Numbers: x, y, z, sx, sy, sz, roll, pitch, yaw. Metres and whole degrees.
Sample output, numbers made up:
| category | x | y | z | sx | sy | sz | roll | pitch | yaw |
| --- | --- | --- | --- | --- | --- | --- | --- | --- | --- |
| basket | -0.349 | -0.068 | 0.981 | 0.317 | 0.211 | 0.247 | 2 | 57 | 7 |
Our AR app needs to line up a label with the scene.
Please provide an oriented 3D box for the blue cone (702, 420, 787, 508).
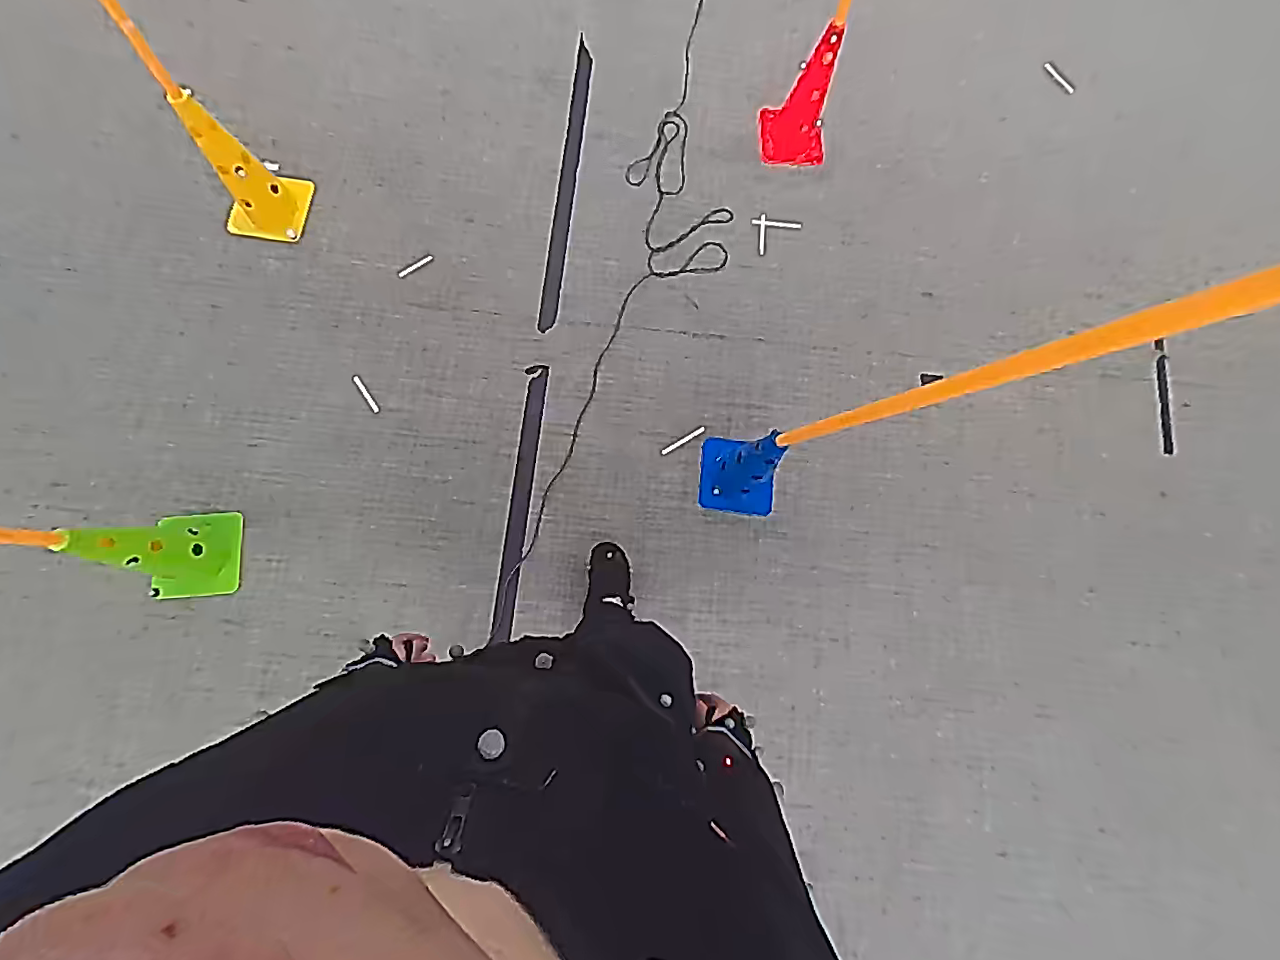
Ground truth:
| category | x | y | z | sx | sy | sz | roll | pitch | yaw |
| --- | --- | --- | --- | --- | --- | --- | --- | --- | --- |
| blue cone | 0.276 | -0.059 | 1.301 | 0.193 | 0.380 | 0.192 | 9 | 77 | -3 |

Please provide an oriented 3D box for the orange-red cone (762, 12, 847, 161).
| category | x | y | z | sx | sy | sz | roll | pitch | yaw |
| --- | --- | --- | --- | --- | --- | --- | --- | --- | --- |
| orange-red cone | 0.491 | -1.125 | 1.530 | 0.199 | 0.360 | 0.198 | 1 | 77 | -3 |

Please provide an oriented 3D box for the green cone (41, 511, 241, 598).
| category | x | y | z | sx | sy | sz | roll | pitch | yaw |
| --- | --- | --- | --- | --- | --- | --- | --- | --- | --- |
| green cone | -1.066 | 0.138 | 1.145 | 0.200 | 0.368 | 0.202 | -4 | 76 | -6 |
